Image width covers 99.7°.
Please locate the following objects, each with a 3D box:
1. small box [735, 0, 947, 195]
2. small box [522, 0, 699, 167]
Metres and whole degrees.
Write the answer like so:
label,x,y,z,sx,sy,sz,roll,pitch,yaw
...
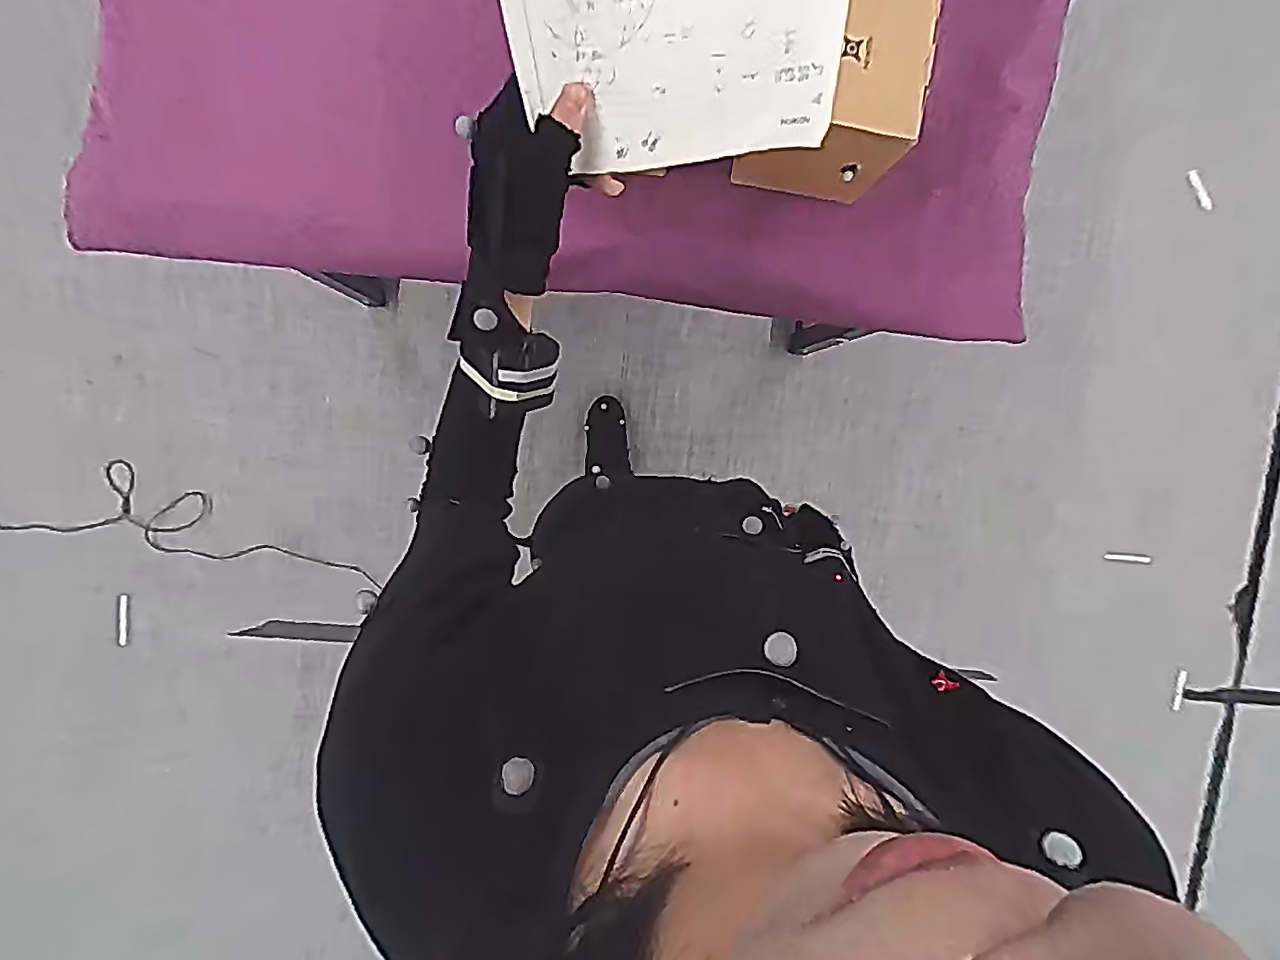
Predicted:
label,x,y,z,sx,sy,sz,roll,pitch,yaw
small box,0.229,-0.471,0.653,0.179,0.176,0.168,7,93,-4
small box,-0.035,-0.492,0.628,0.179,0.176,0.168,4,95,-6
